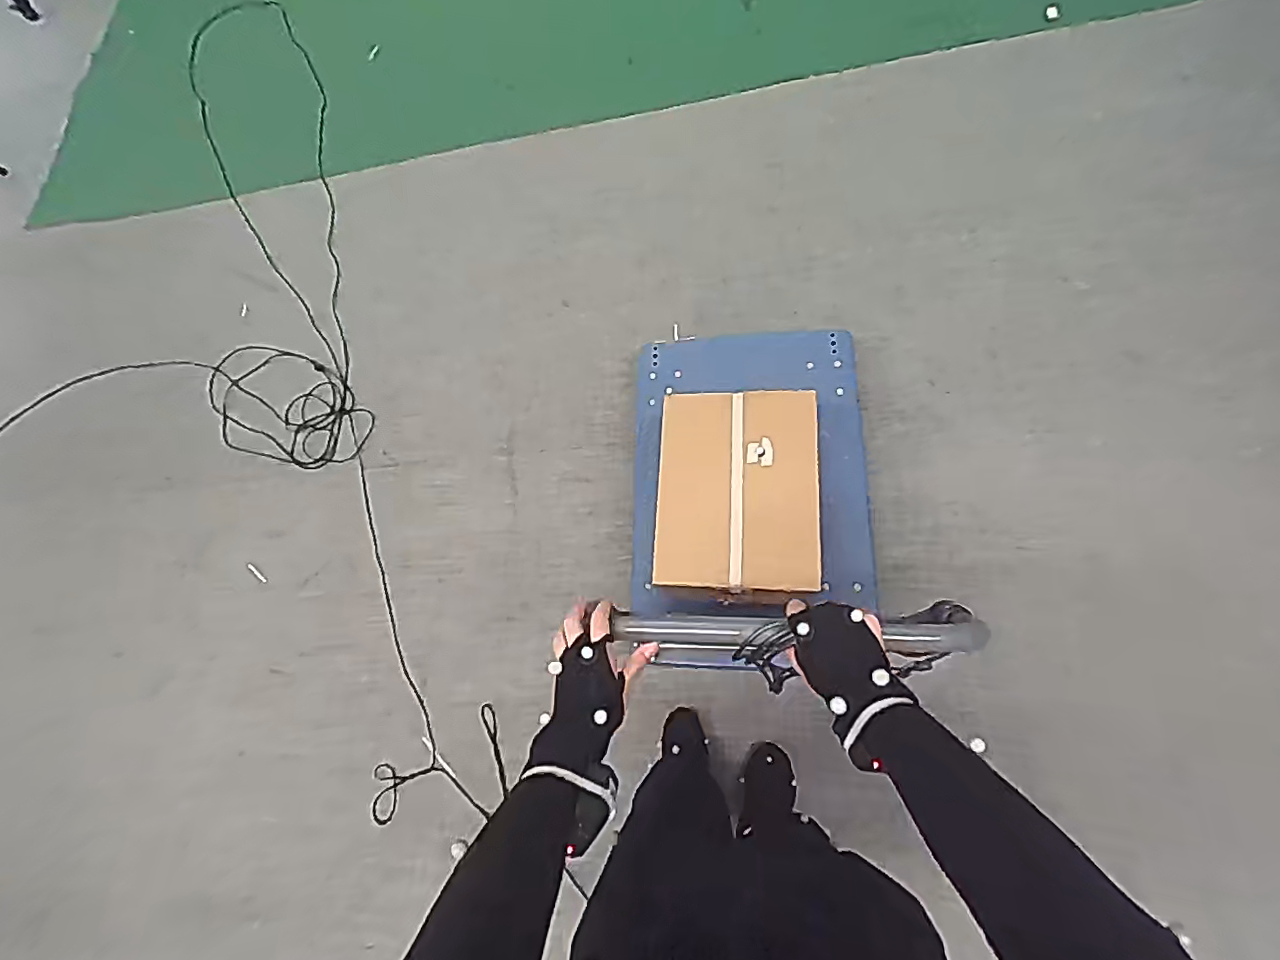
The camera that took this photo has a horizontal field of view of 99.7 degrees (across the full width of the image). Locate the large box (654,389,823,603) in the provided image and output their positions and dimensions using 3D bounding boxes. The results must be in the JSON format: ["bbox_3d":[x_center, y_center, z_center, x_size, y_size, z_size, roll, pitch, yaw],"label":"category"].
[{"bbox_3d":[0.217,0.052,1.195,0.320,0.320,0.408,1,72,11],"label":"large box"}]
